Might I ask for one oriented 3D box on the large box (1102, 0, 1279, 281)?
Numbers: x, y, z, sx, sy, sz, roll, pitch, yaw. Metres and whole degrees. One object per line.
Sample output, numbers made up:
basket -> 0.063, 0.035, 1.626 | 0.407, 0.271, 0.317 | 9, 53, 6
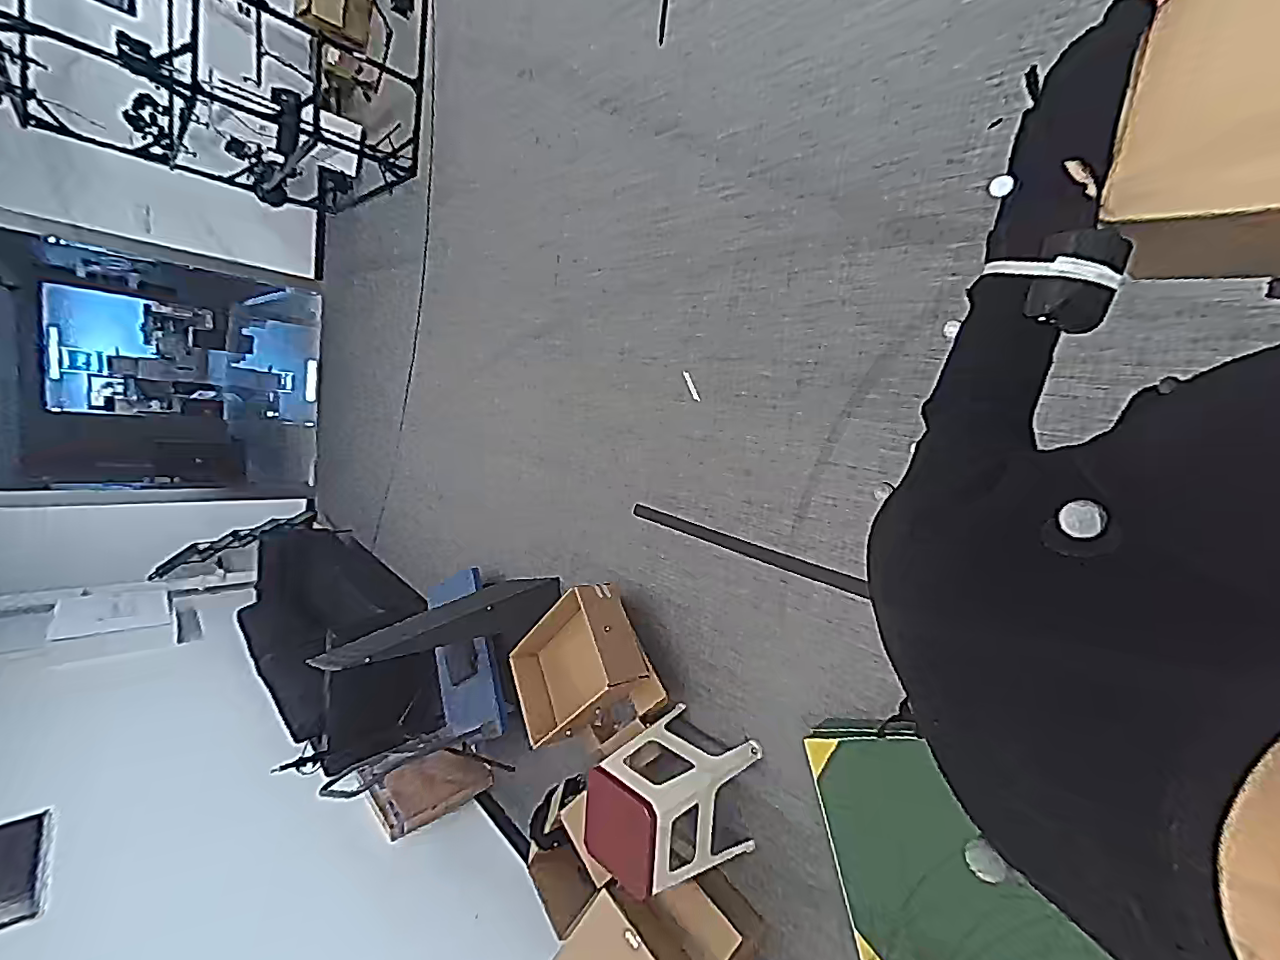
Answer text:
large box -> 0.604, -0.319, 0.351 | 0.408, 0.320, 0.320 | 17, 109, 42
